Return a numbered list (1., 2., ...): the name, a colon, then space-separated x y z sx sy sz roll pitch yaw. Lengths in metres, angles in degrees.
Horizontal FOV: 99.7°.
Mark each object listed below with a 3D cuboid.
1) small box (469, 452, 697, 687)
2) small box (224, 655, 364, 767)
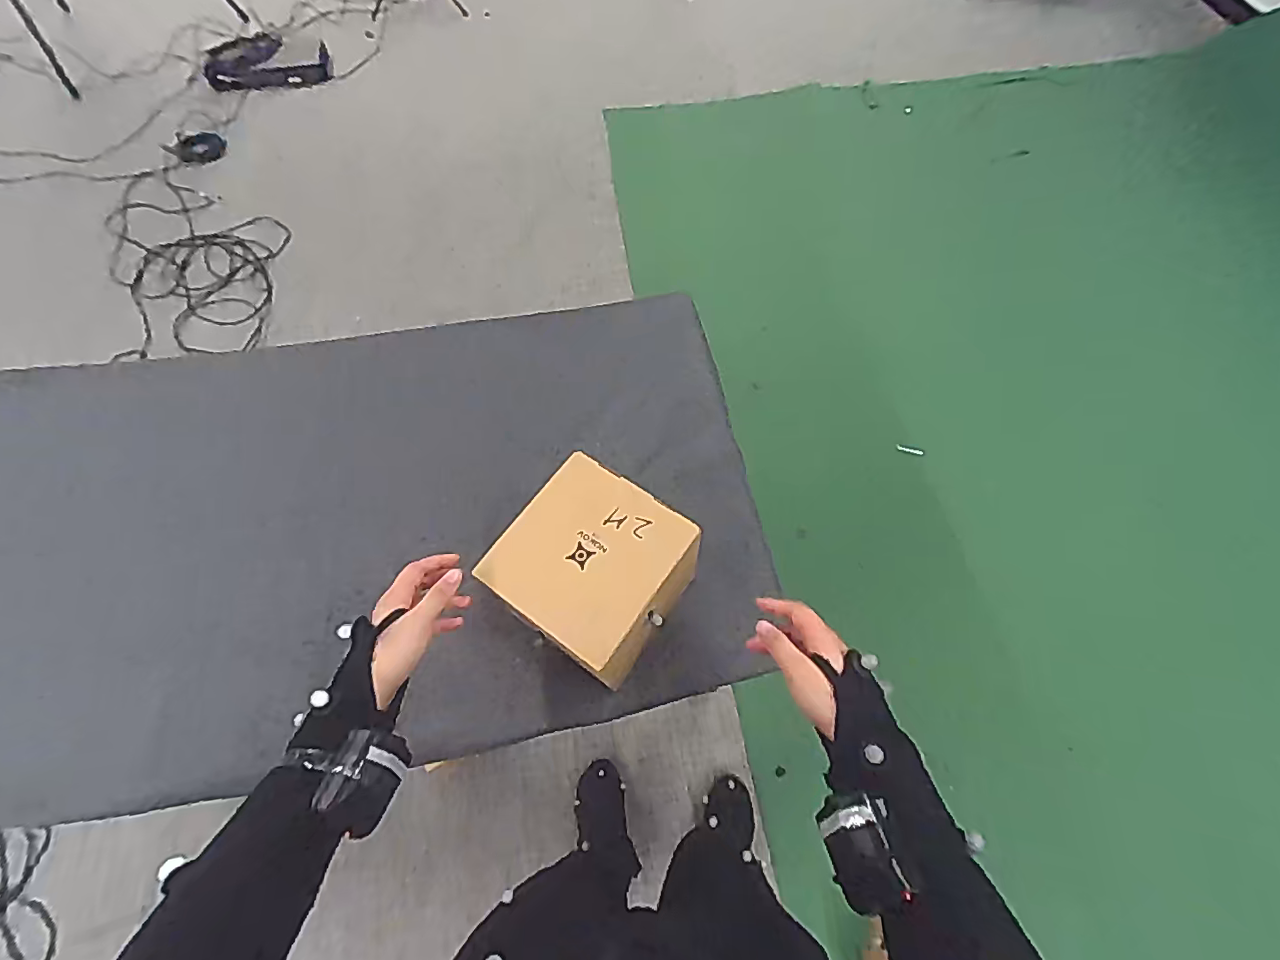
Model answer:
1. small box: -0.052 0.109 0.607 0.168 0.176 0.179 33 69 17
2. small box: -0.768 0.522 1.224 0.168 0.176 0.179 21 66 10
